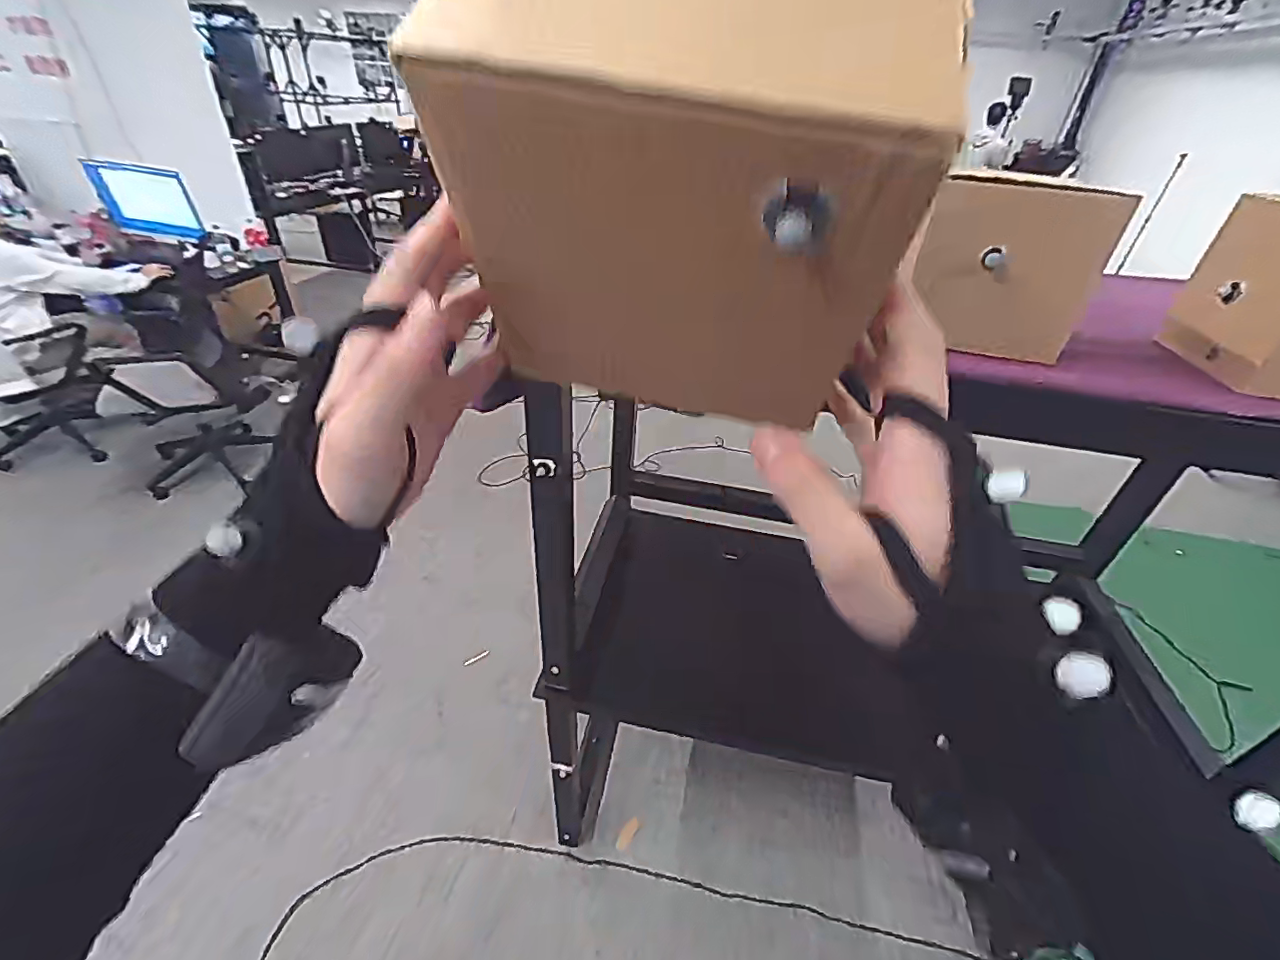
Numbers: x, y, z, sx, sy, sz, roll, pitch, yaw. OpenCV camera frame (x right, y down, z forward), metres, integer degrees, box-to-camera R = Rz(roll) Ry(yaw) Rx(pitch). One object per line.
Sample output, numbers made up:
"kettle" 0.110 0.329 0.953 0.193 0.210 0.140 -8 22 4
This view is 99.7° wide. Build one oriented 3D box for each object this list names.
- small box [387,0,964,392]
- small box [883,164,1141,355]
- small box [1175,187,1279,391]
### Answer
"small box" 0.024 -0.163 0.261 0.179 0.176 0.168 13 66 6
"small box" 0.388 -0.252 0.611 0.179 0.176 0.168 11 35 11
"small box" 0.713 -0.189 0.550 0.179 0.176 0.168 9 37 8
